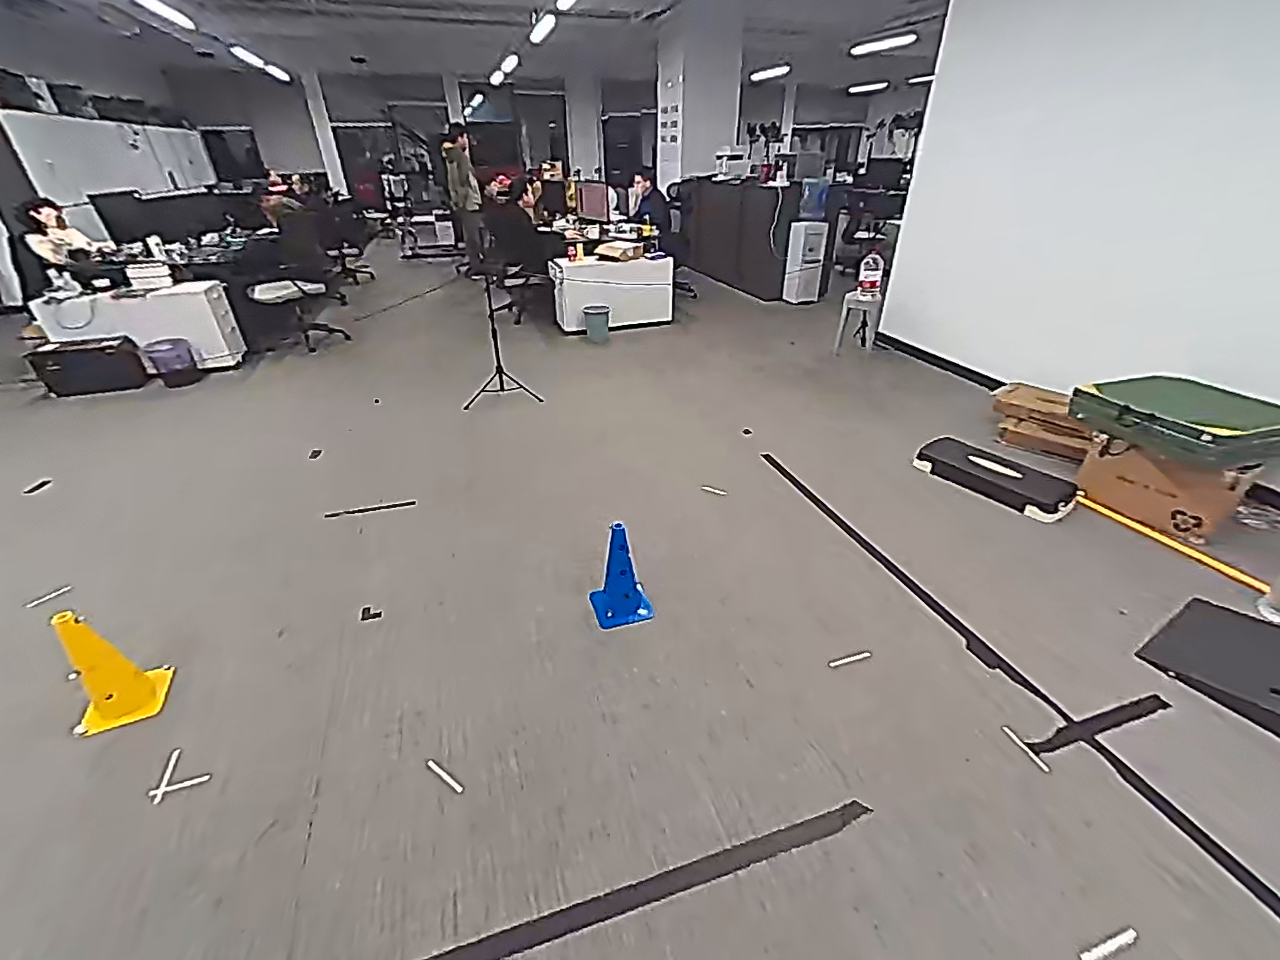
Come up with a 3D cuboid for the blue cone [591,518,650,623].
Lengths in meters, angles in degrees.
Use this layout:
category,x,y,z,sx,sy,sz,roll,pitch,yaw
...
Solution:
category,x,y,z,sx,sy,sz,roll,pitch,yaw
blue cone,-0.072,0.303,1.888,0.193,0.380,0.192,-9,31,-14
